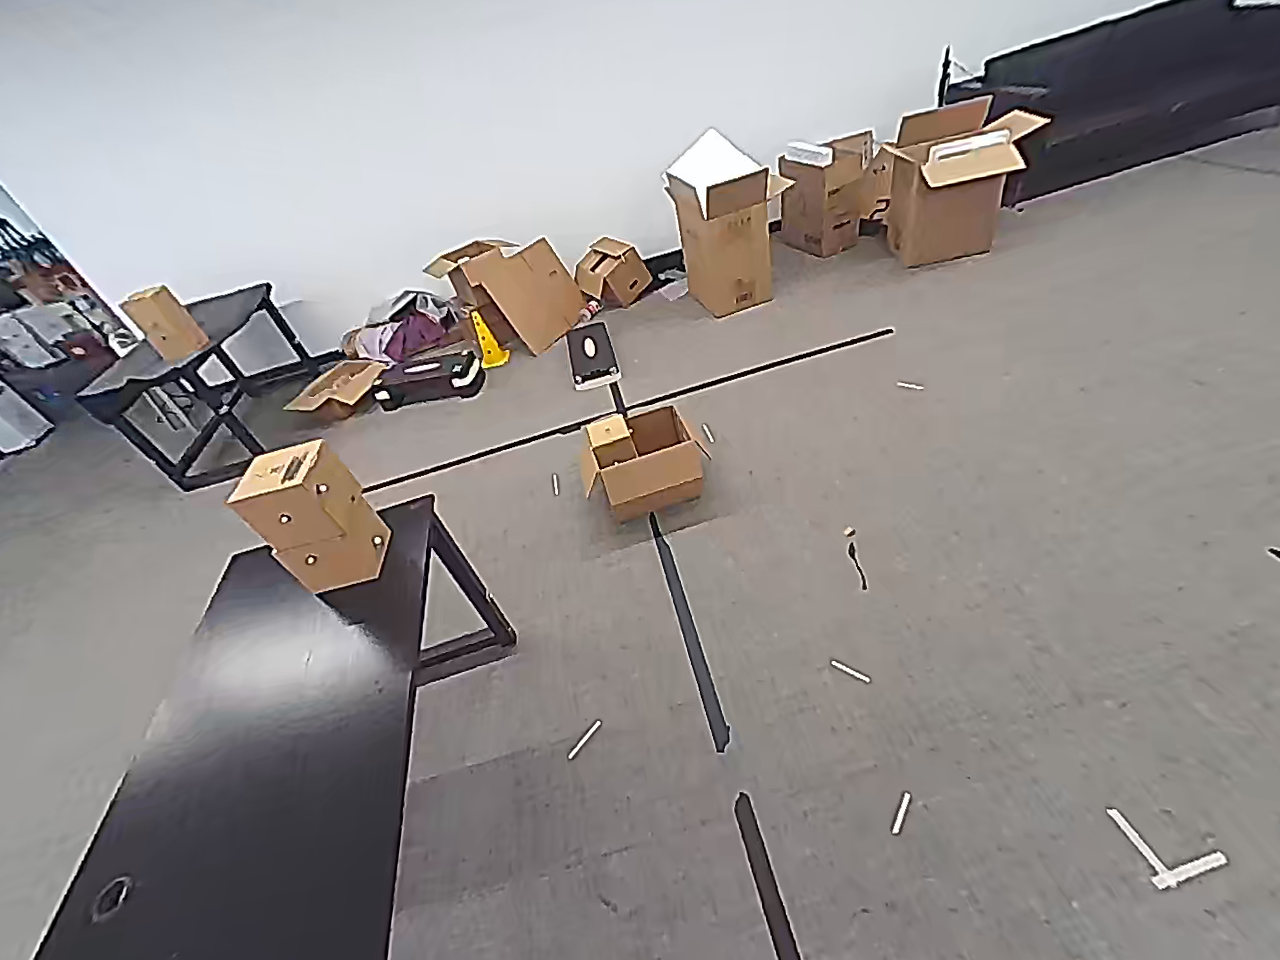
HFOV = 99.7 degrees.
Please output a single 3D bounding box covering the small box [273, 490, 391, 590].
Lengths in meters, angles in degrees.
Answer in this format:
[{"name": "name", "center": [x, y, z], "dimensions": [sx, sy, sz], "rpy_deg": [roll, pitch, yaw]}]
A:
[{"name": "small box", "center": [-0.771, 0.158, 1.374], "dimensions": [0.179, 0.176, 0.168], "rpy_deg": [-14, 42, 2]}]
